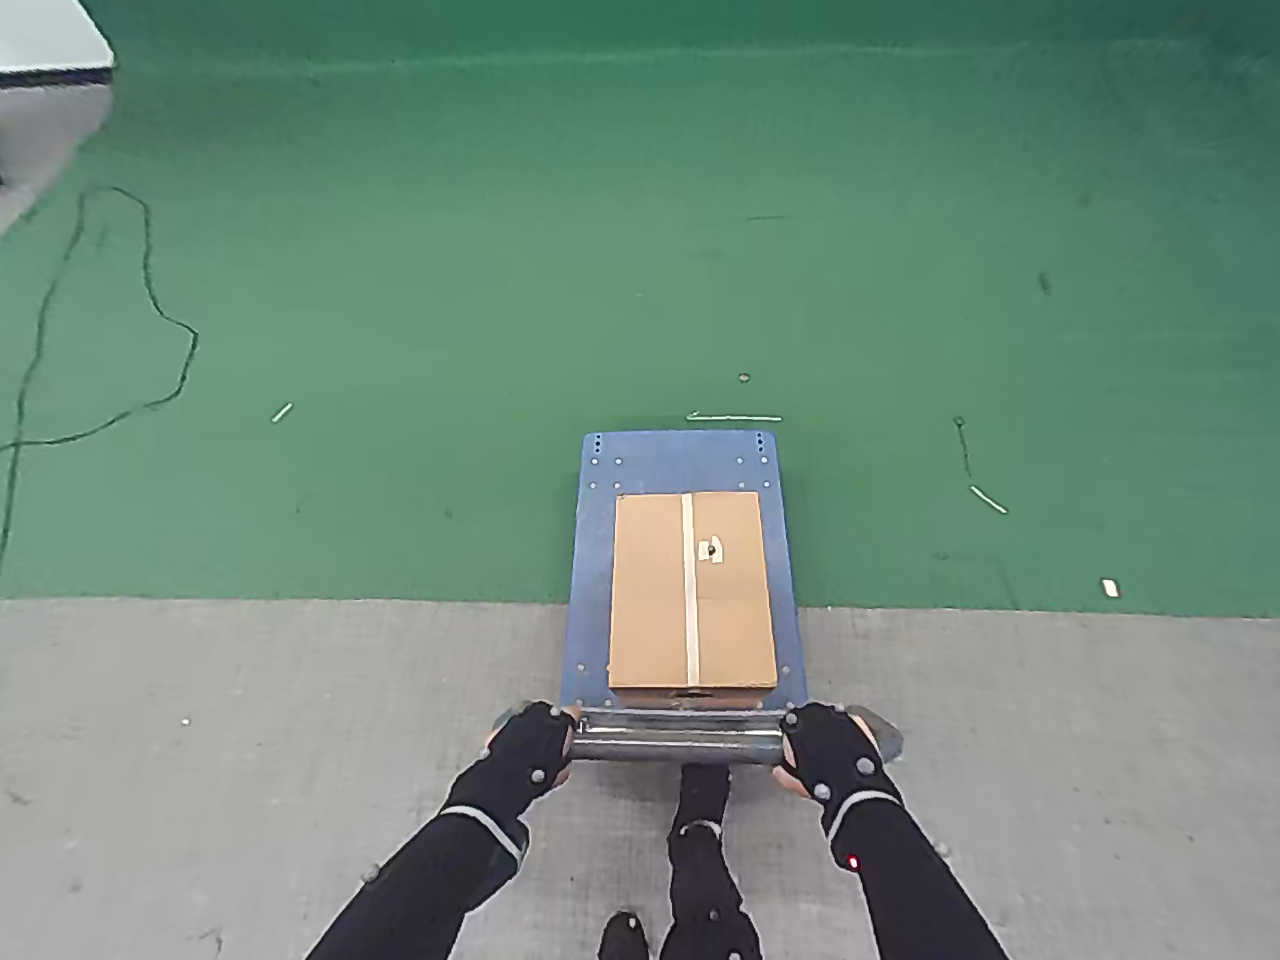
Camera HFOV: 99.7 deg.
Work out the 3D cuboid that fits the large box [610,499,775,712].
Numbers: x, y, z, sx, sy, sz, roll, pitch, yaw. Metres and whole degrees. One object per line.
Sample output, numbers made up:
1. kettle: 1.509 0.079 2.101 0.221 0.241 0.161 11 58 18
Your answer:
1. large box: 0.110 0.293 1.232 0.320 0.320 0.408 -1 60 4
